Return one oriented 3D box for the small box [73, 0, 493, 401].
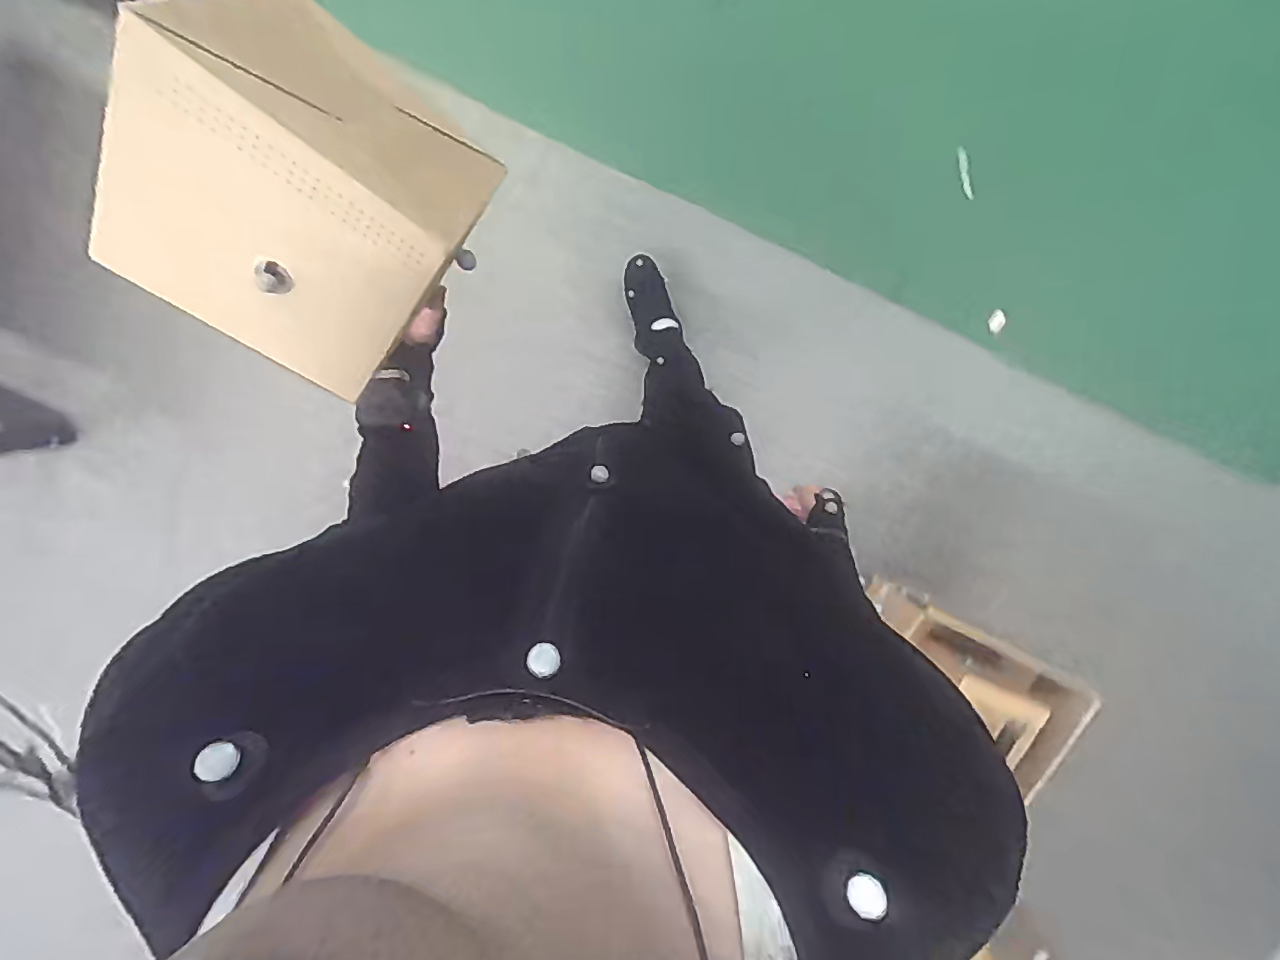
[{"bbox_3d":[-0.234,-0.198,0.386,0.179,0.168,0.176,31,129,-26],"label":"small box"}]
